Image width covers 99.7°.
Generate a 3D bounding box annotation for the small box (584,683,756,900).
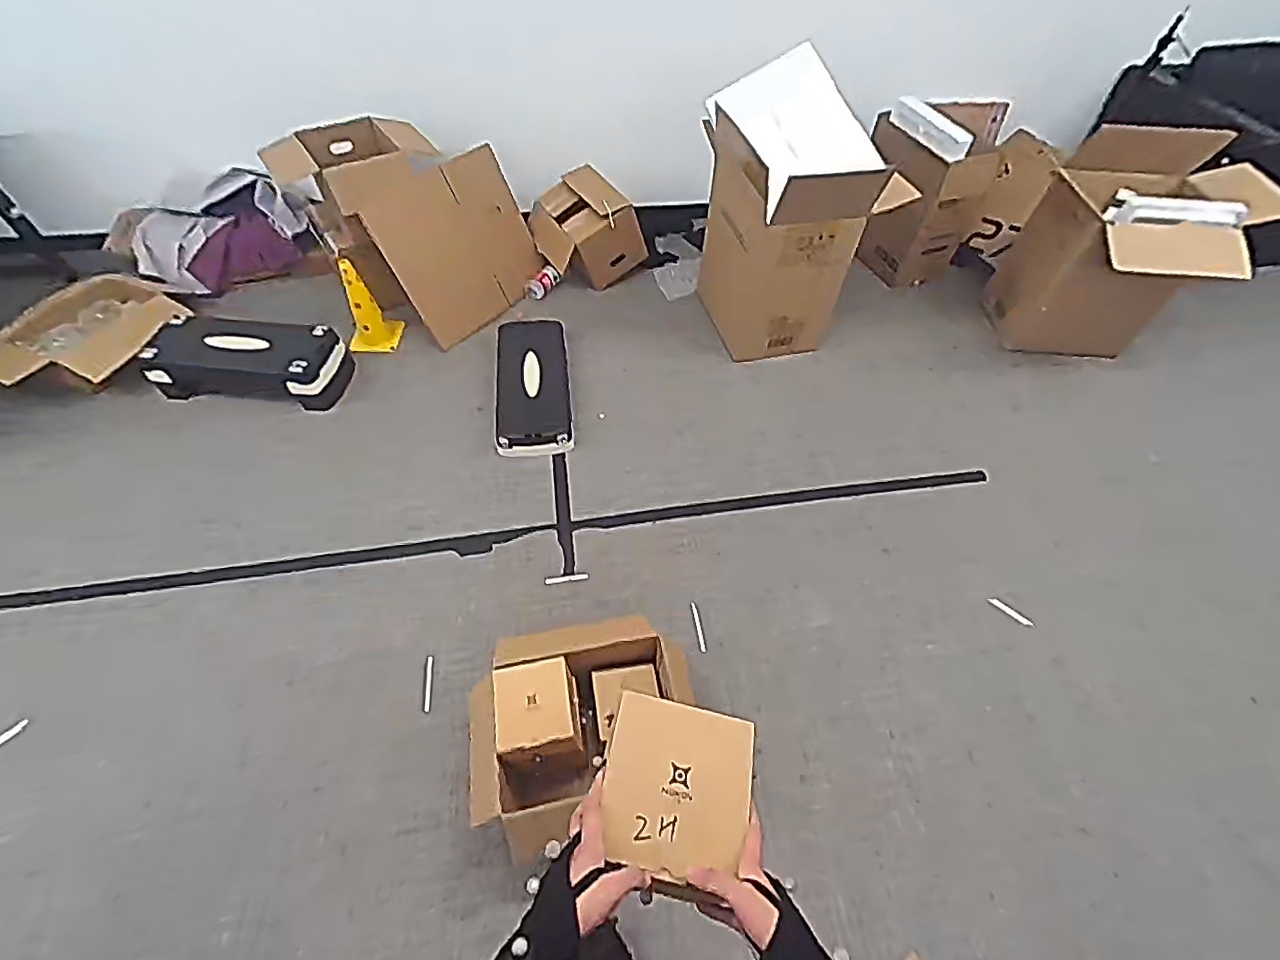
[{"bbox_3d":[0.033,0.378,0.654,0.168,0.176,0.179,14,50,2],"label":"small box"}]
